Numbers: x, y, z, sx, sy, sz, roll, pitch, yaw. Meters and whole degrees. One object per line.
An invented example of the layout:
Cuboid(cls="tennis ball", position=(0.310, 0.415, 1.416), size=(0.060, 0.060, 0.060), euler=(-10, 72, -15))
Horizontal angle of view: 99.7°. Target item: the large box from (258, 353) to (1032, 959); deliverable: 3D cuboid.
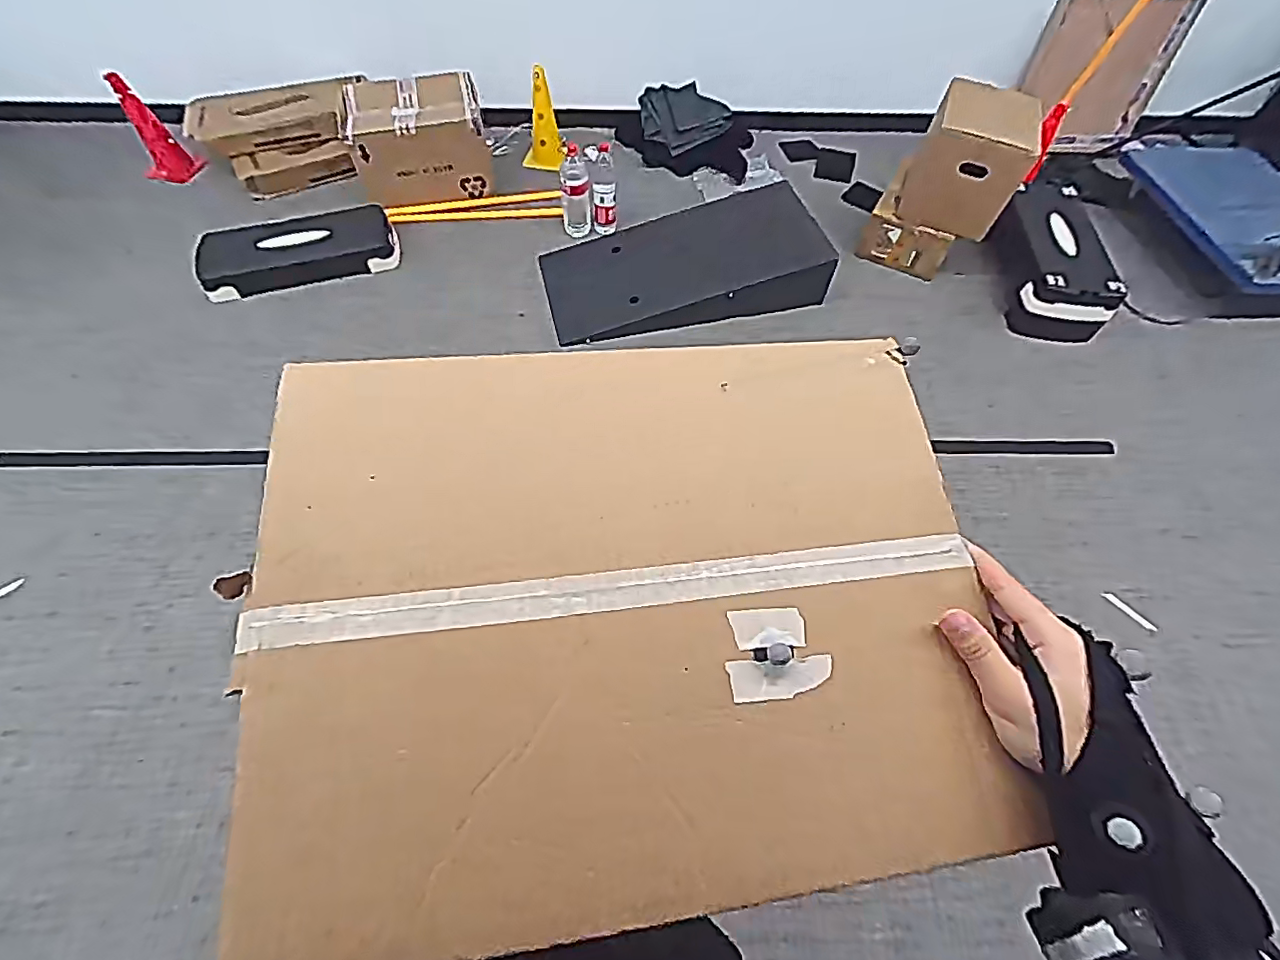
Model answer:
Cuboid(cls="large box", position=(-0.014, 0.118, 0.455), size=(0.408, 0.320, 0.320), euler=(-4, 71, -9))
